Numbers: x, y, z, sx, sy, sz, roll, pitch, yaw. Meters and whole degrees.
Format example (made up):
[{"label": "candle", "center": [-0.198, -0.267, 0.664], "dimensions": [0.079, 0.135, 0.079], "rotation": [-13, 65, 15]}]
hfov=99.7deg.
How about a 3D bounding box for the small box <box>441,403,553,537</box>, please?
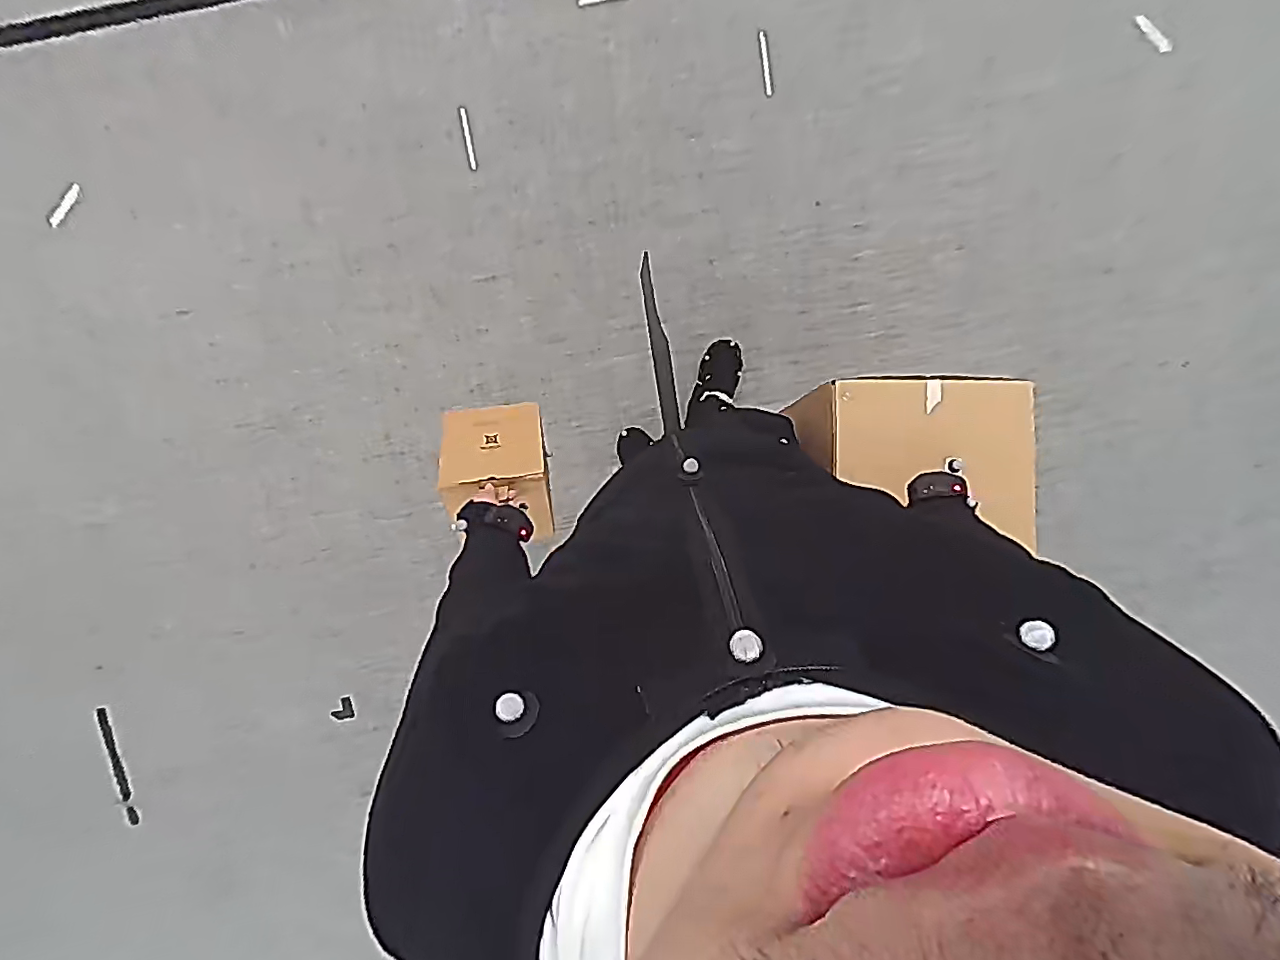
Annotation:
[{"label": "small box", "center": [-0.250, -0.011, 0.969], "dimensions": [0.168, 0.179, 0.176], "rotation": [-7, 140, -9]}]
